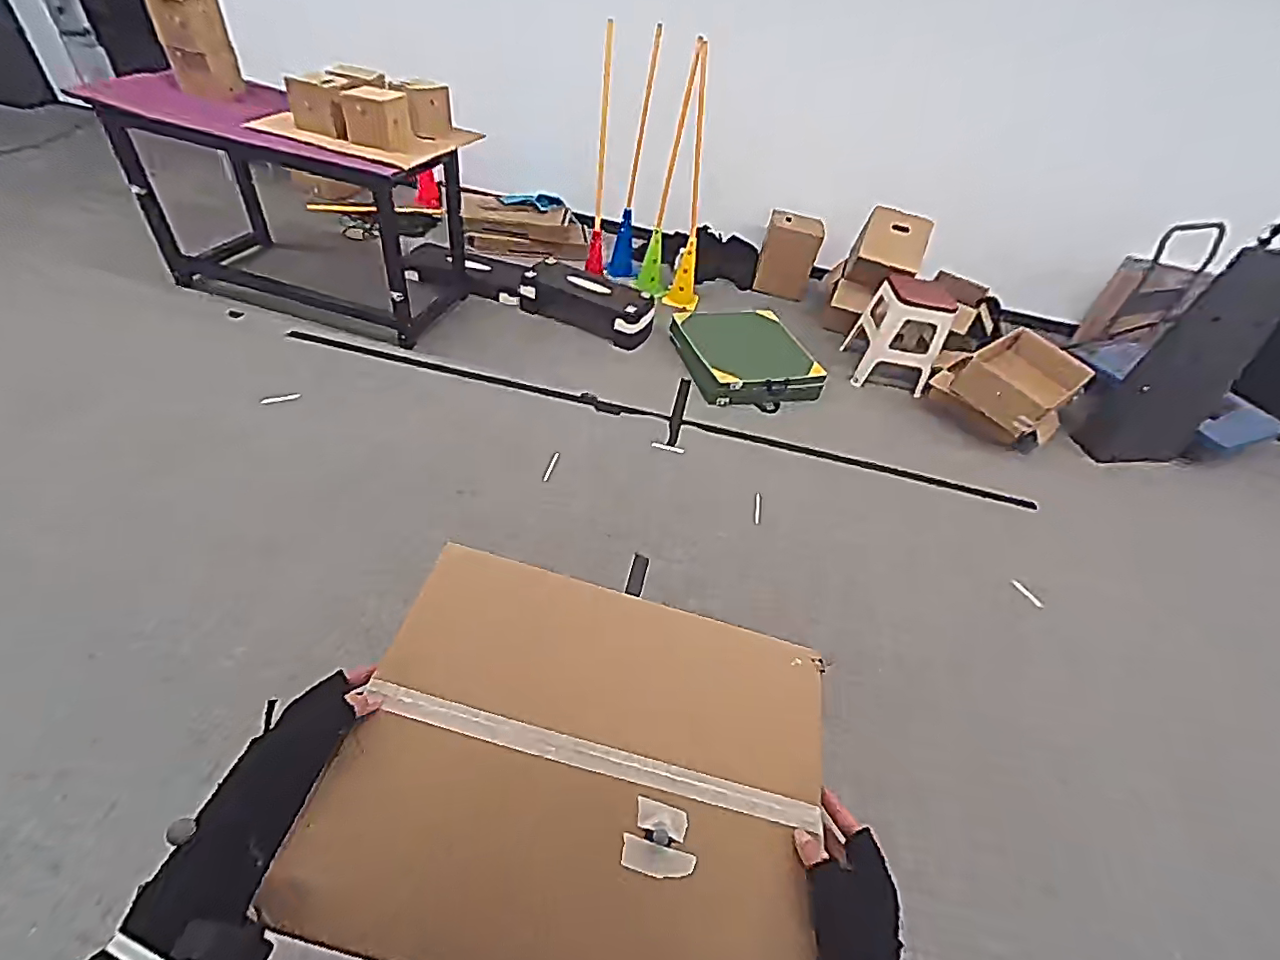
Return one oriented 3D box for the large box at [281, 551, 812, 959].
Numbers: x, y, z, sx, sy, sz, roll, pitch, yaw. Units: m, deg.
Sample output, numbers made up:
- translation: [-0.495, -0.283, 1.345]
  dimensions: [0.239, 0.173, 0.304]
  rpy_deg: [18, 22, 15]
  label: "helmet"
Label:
- translation: [-0.068, 0.329, 0.594]
  dimensions: [0.408, 0.320, 0.320]
  rpy_deg: [17, 51, -1]
  label: "large box"
